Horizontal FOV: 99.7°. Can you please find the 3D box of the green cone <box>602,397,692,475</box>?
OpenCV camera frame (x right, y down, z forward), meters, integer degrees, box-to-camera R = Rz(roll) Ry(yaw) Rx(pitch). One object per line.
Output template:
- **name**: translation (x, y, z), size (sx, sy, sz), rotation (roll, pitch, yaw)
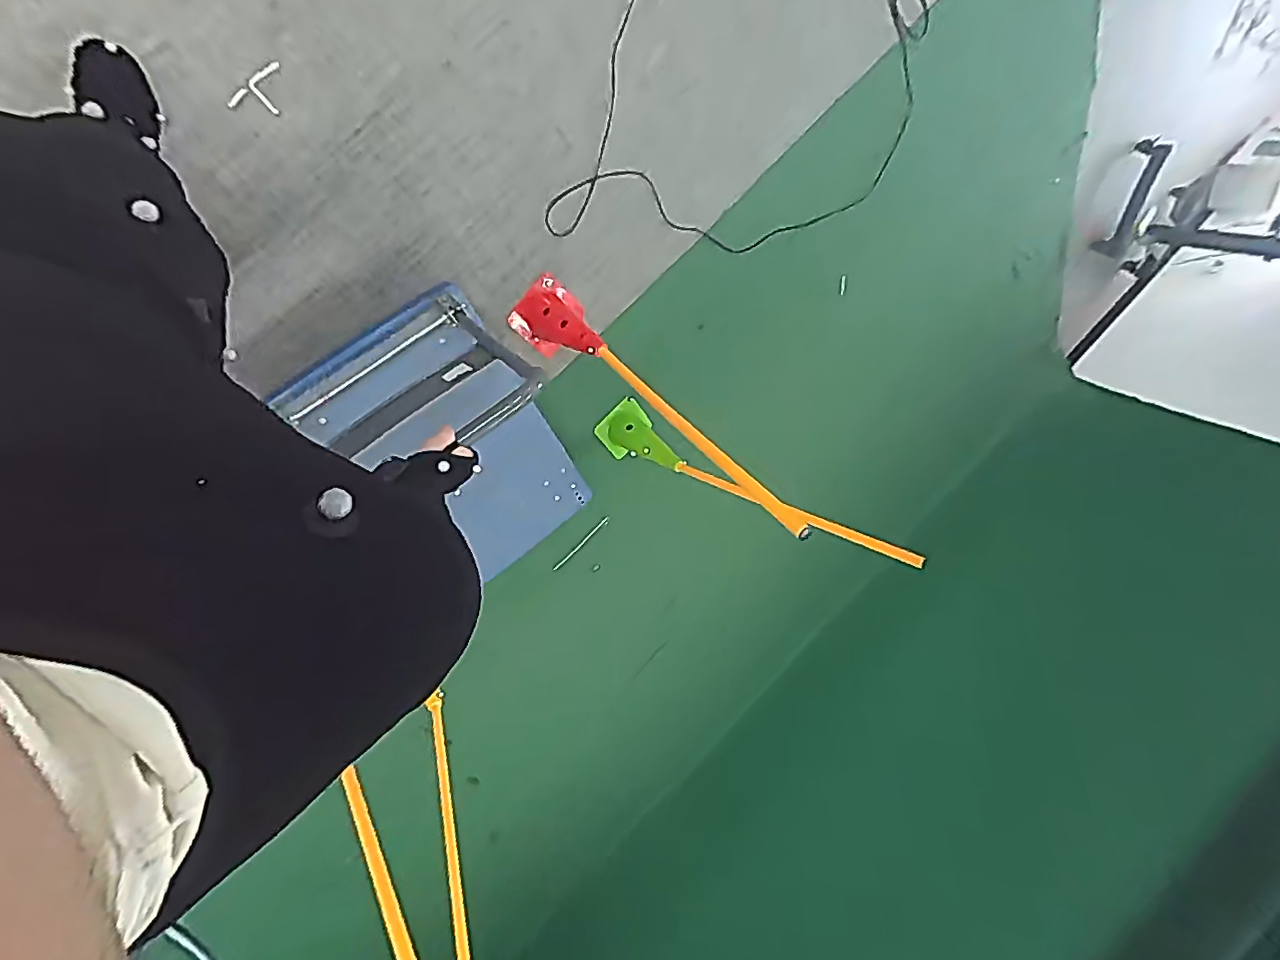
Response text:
- **green cone**: translation (0.057, -0.116, 1.950), size (0.200, 0.368, 0.202), rotation (-46, 136, -4)
